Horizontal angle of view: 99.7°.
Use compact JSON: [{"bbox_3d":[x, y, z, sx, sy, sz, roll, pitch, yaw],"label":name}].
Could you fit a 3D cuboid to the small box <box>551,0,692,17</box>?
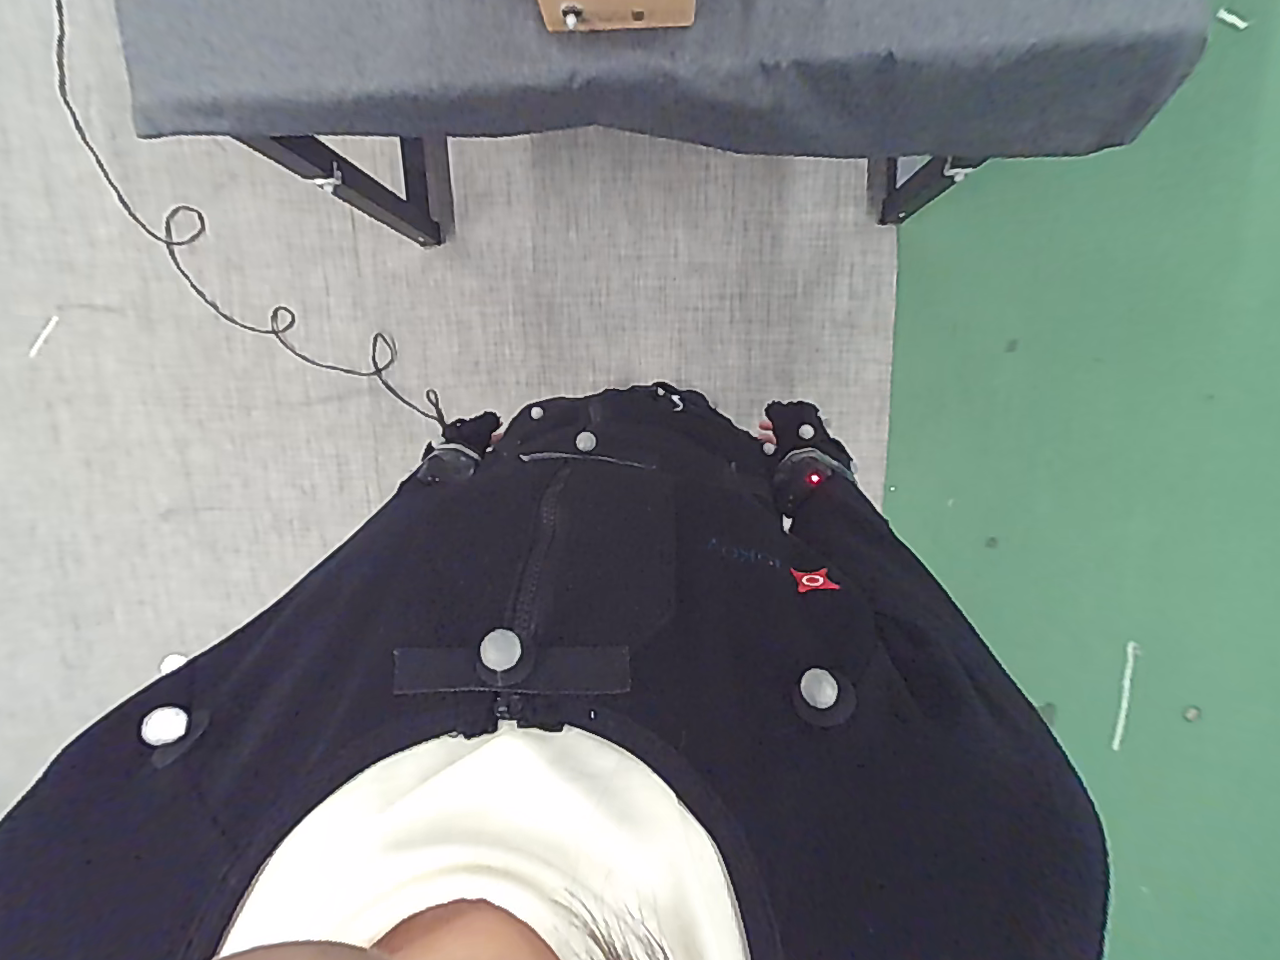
[{"bbox_3d":[-0.026,-0.593,0.522,0.168,0.176,0.179,0,98,3],"label":"small box"}]
